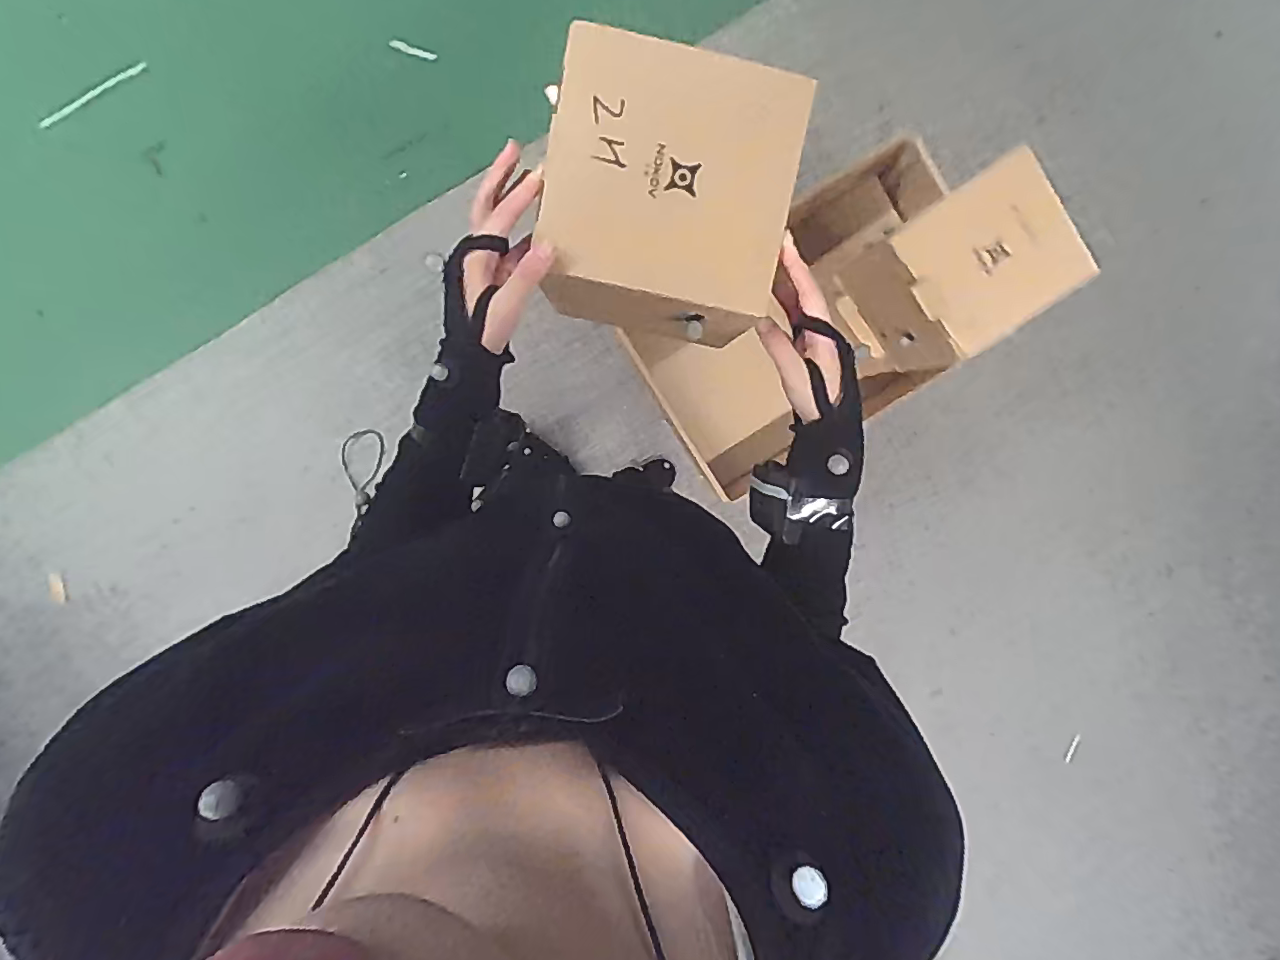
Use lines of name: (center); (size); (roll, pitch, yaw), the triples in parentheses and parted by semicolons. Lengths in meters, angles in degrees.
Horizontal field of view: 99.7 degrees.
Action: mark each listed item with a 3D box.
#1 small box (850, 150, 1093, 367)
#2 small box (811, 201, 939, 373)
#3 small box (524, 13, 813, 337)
small box: (0.392, -0.257, 0.681); (0.179, 0.176, 0.168); (-33, 96, 4)
small box: (0.389, -0.283, 0.842); (0.179, 0.176, 0.168); (-36, 95, 4)
small box: (0.016, -0.225, 0.454); (0.179, 0.176, 0.168); (11, 95, -4)
